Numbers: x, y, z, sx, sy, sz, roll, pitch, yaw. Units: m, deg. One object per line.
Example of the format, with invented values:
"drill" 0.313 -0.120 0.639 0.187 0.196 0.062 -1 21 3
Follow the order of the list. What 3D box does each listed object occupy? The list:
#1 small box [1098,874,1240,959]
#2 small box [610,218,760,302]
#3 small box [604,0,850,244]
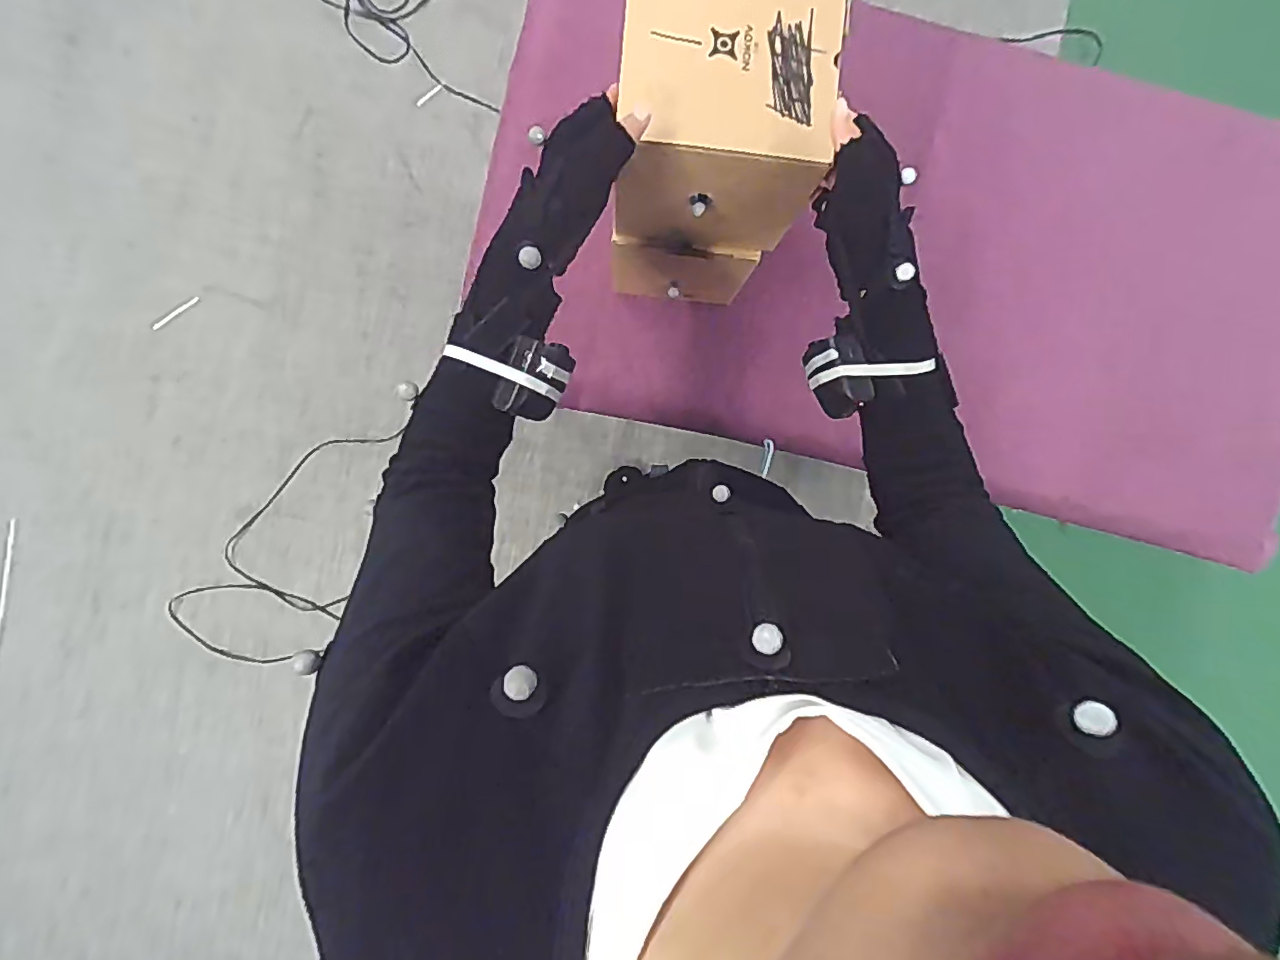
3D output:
"small box" 1.265 1.103 1.307 0.168 0.176 0.179 12 92 -2
"small box" 0.053 -0.338 0.662 0.168 0.176 0.179 6 91 -2
"small box" 0.065 -0.339 0.494 0.179 0.176 0.168 8 88 -3
